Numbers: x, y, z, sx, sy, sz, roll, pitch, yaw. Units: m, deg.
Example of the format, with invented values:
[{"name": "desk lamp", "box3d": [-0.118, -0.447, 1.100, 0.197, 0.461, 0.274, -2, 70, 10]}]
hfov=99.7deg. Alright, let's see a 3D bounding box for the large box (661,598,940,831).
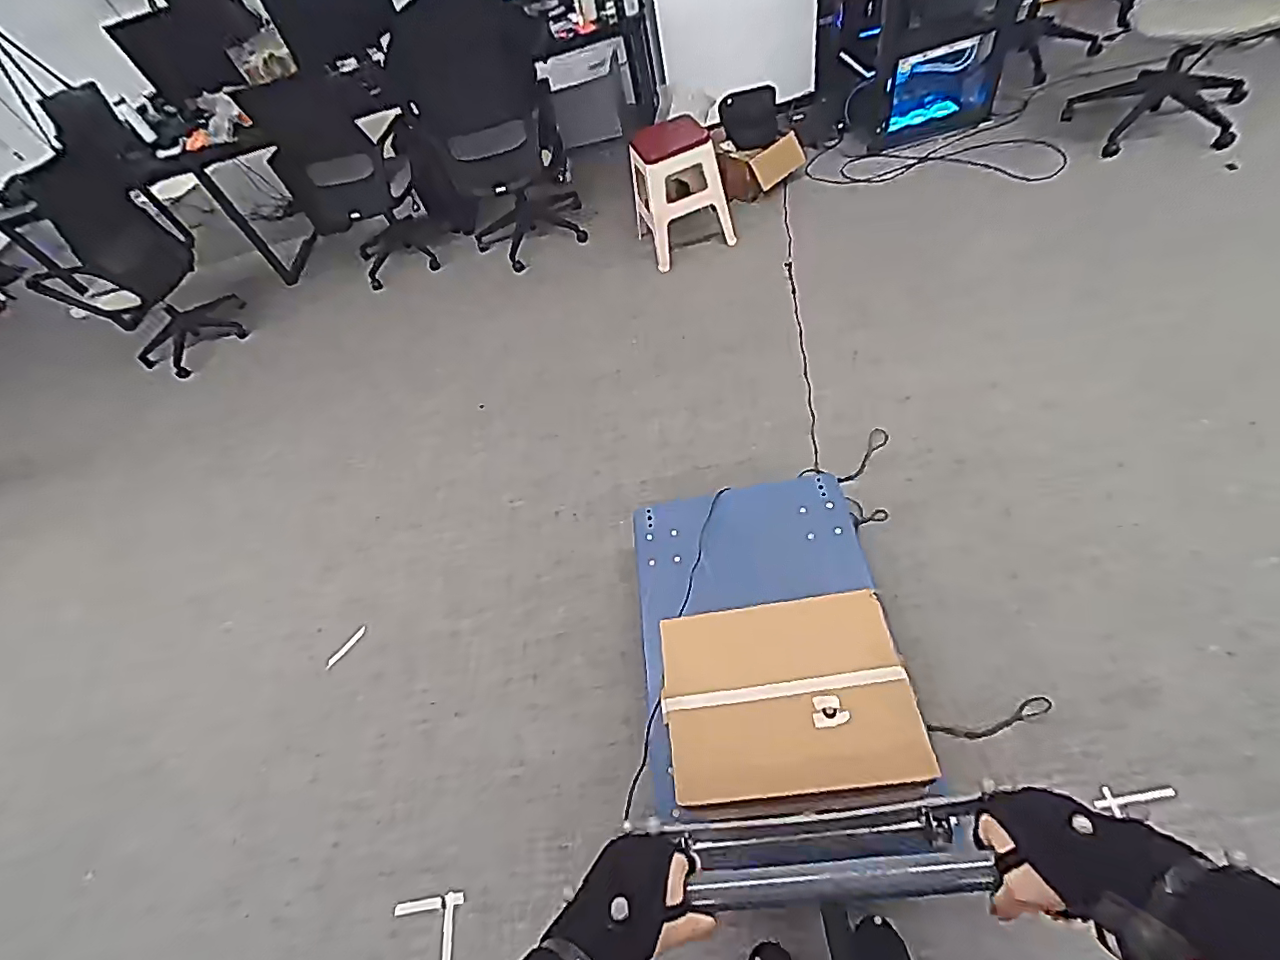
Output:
[{"name": "large box", "box3d": [0.272, 0.458, 1.031, 0.408, 0.320, 0.320, -10, 53, 7]}]
